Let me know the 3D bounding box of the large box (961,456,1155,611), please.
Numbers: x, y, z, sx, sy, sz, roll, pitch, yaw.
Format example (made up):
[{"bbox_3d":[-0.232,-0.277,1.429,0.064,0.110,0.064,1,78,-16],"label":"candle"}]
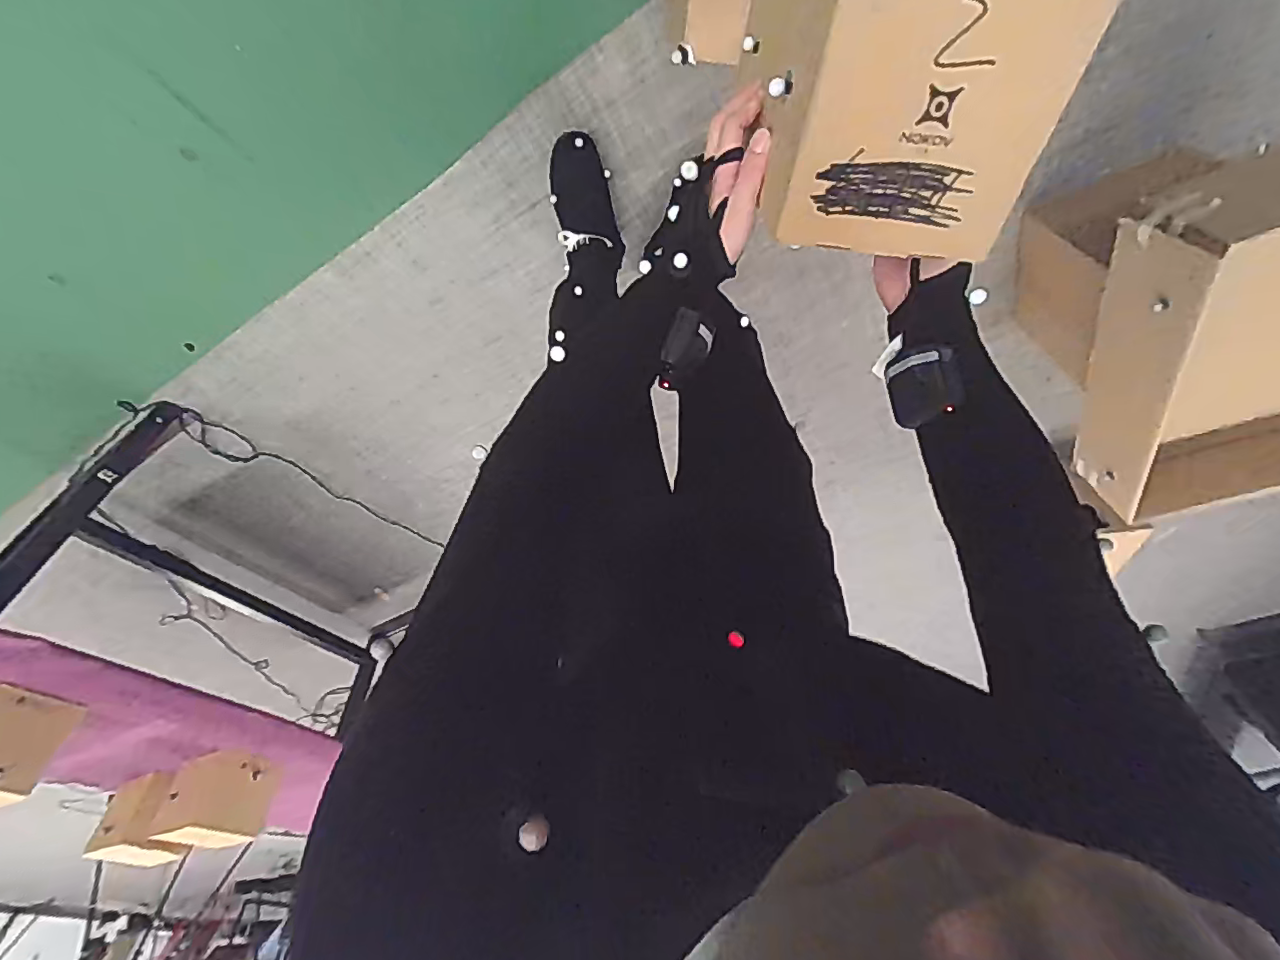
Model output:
[{"bbox_3d":[1.313,0.180,1.759,0.320,0.320,0.408,-7,134,3],"label":"large box"}]

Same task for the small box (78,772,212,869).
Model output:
[{"bbox_3d":[-1.277,0.887,1.410,0.179,0.176,0.168,-25,130,19],"label":"small box"}]

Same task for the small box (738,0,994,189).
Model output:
[{"bbox_3d":[0.200,-0.413,0.529,0.168,0.176,0.179,5,132,-5],"label":"small box"}]

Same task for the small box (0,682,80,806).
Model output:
[{"bbox_3d":[-1.238,0.502,1.023,0.179,0.176,0.168,-21,134,21],"label":"small box"}]
